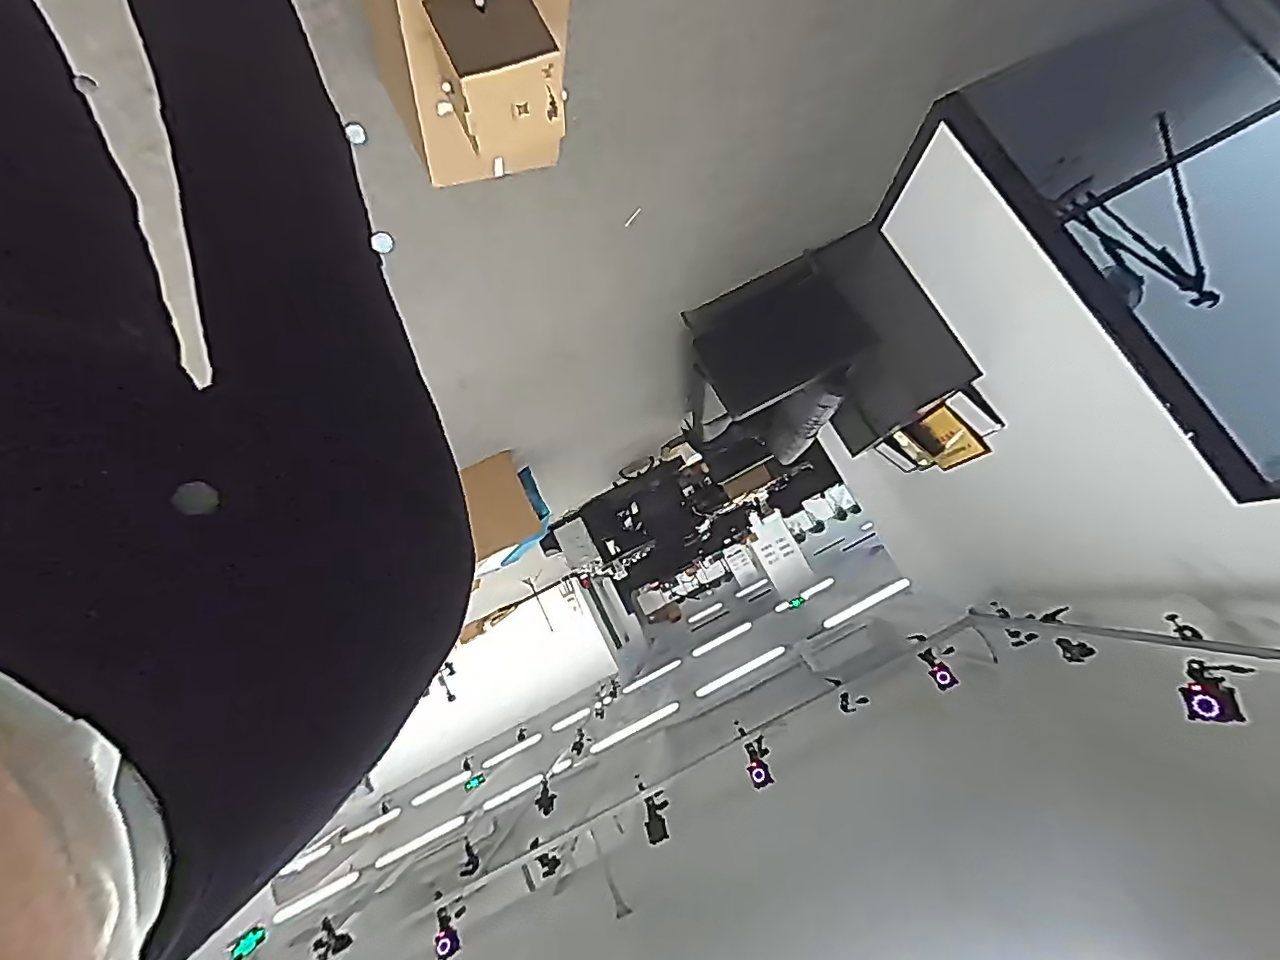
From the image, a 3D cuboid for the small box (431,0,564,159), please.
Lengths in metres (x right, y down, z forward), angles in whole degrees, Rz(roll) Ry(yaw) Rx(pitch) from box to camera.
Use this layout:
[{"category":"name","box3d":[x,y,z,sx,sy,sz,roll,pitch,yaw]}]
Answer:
[{"category":"small box","box3d":[-0.250,-0.717,0.953,0.179,0.176,0.168,-24,169,-11]}]
